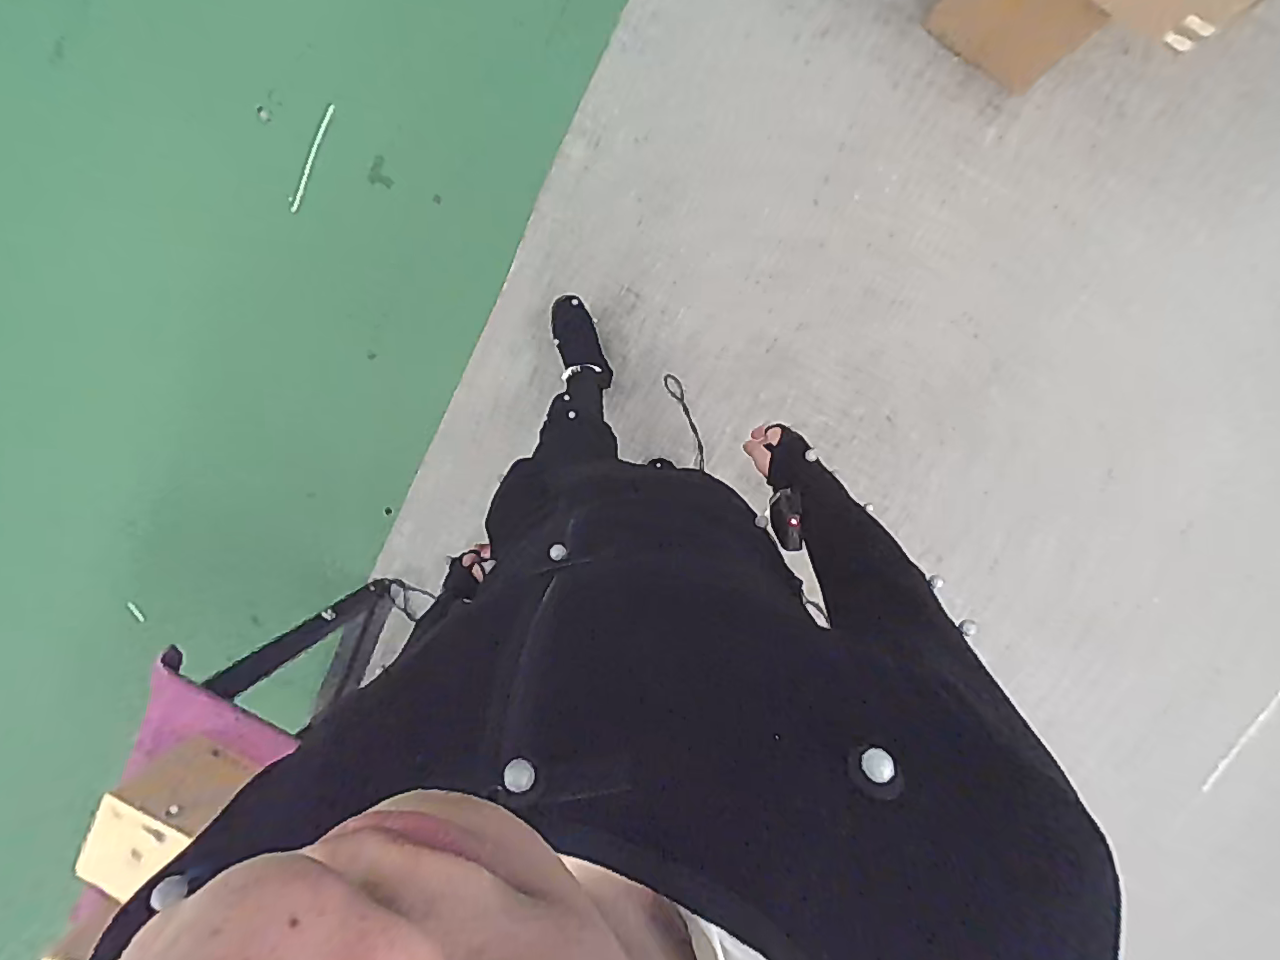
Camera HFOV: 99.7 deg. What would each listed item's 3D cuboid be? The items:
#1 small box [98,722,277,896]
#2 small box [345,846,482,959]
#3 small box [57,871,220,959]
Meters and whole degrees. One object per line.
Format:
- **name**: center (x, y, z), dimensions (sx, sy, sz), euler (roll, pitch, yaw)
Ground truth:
- **small box**: center (-0.818, 0.592, 0.994), dimensions (0.168, 0.176, 0.179), euler (29, 101, 0)
- **small box**: center (-0.416, 0.833, 0.990), dimensions (0.168, 0.176, 0.179), euler (28, 102, 1)
- **small box**: center (-0.982, 0.900, 1.063), dimensions (0.168, 0.176, 0.179), euler (26, 100, -1)
